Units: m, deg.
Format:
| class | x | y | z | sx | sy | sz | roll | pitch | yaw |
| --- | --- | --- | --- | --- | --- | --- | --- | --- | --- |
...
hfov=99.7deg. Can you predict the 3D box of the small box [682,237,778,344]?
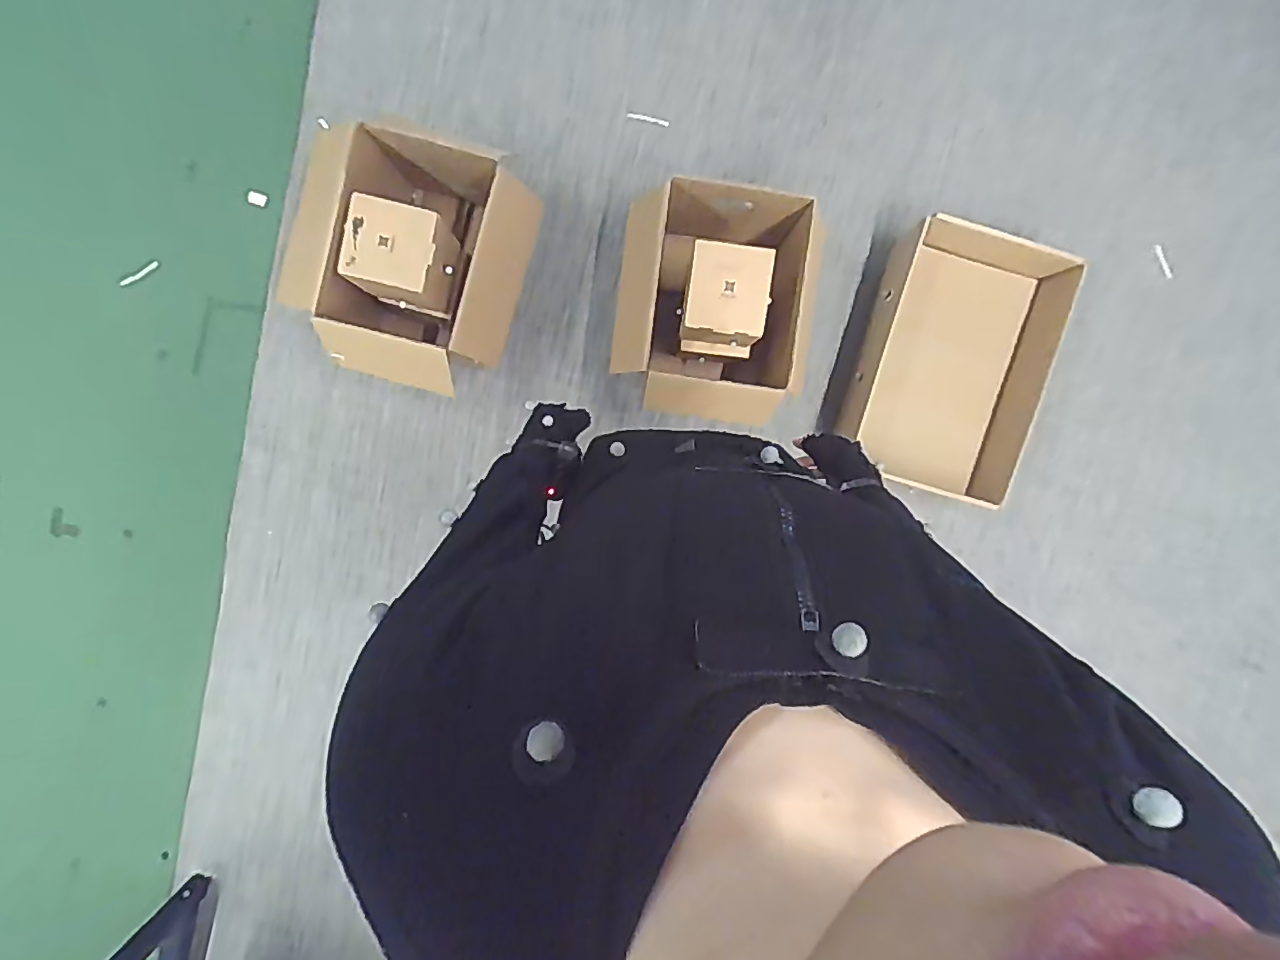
| class | x | y | z | sx | sy | sz | roll | pitch | yaw |
| --- | --- | --- | --- | --- | --- | --- | --- | --- | --- |
| small box | 0.185 | -0.399 | 1.169 | 0.168 | 0.176 | 0.179 | 7 | 96 | -2 |
